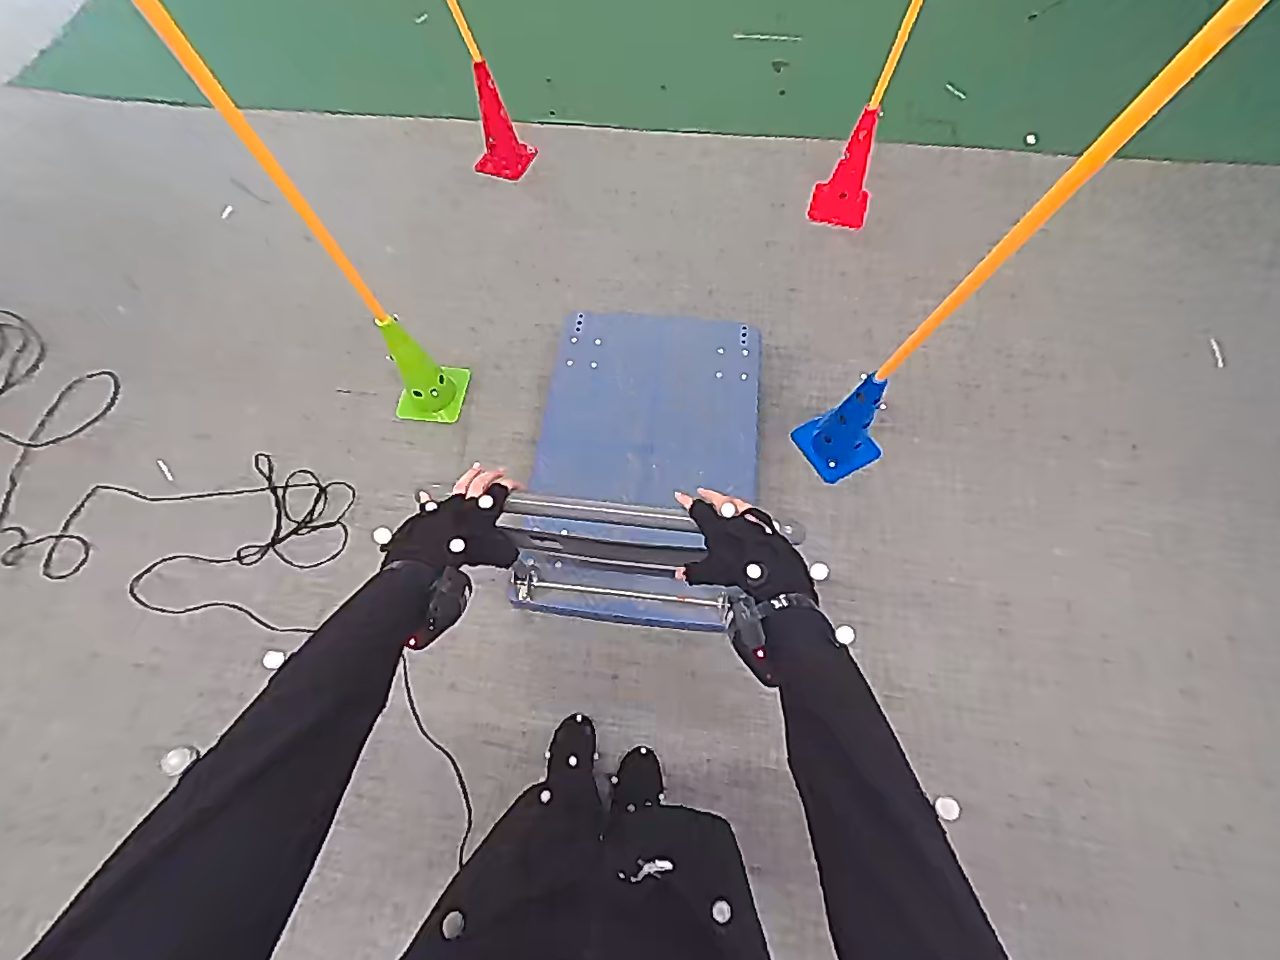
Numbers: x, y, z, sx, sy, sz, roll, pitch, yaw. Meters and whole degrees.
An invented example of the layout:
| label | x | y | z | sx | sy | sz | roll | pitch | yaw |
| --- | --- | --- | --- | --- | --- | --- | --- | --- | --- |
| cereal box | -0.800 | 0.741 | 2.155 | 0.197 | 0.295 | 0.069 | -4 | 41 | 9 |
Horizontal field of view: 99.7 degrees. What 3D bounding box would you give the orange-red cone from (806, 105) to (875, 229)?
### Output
| label | x | y | z | sx | sy | sz | roll | pitch | yaw |
| --- | --- | --- | --- | --- | --- | --- | --- | --- | --- |
| orange-red cone | 0.713 | -1.068 | 1.819 | 0.198 | 0.360 | 0.199 | 16 | 69 | 10 |
